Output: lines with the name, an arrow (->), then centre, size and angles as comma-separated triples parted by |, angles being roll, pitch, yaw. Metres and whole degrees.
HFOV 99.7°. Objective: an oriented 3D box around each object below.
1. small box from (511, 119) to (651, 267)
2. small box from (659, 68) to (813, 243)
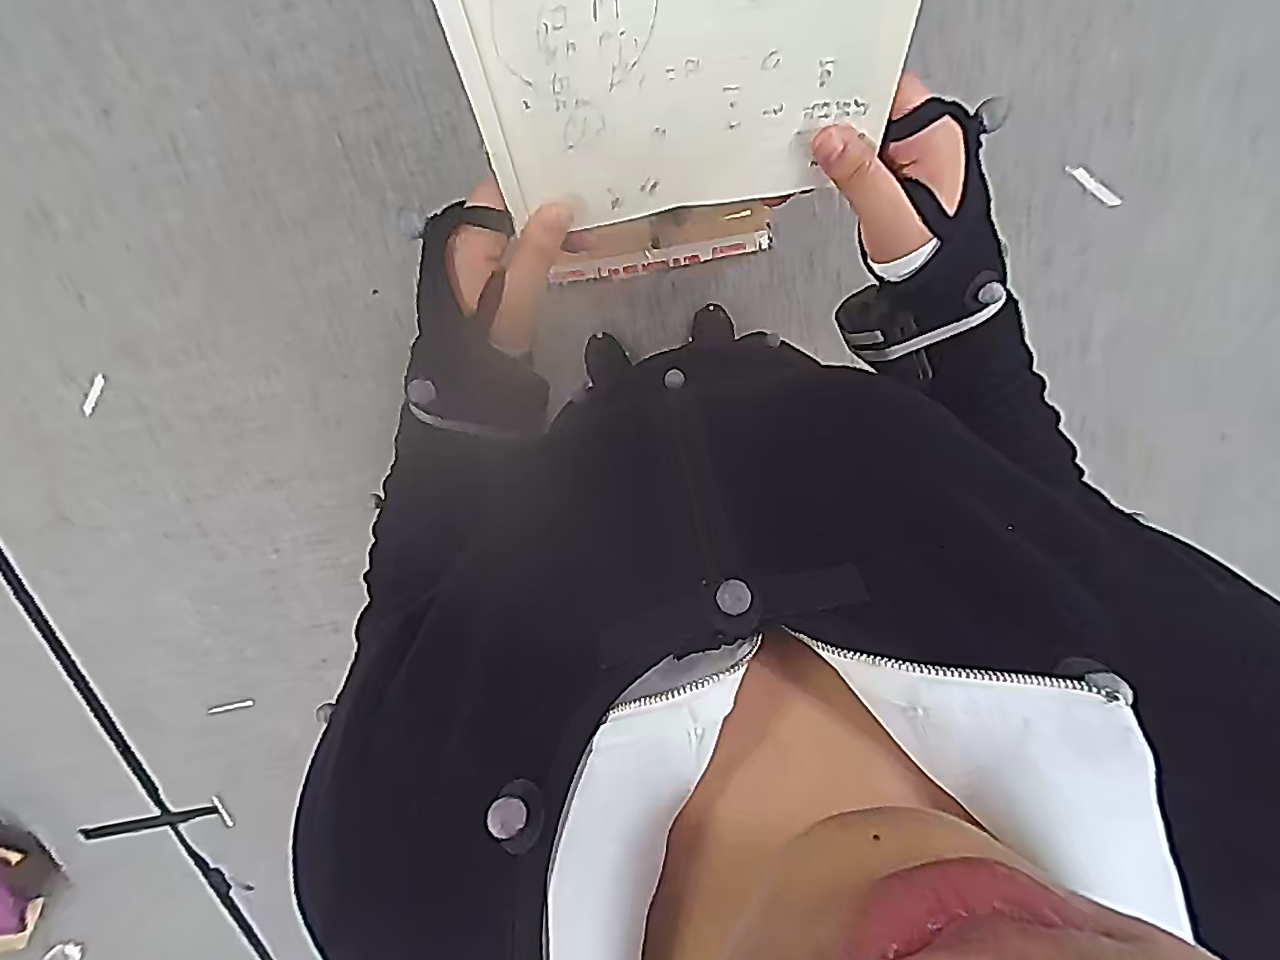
small box -> -0.078, -0.418, 0.813 | 0.179, 0.176, 0.168 | -5, 109, 3
small box -> 0.134, -0.463, 0.801 | 0.179, 0.176, 0.168 | -14, 108, 3
